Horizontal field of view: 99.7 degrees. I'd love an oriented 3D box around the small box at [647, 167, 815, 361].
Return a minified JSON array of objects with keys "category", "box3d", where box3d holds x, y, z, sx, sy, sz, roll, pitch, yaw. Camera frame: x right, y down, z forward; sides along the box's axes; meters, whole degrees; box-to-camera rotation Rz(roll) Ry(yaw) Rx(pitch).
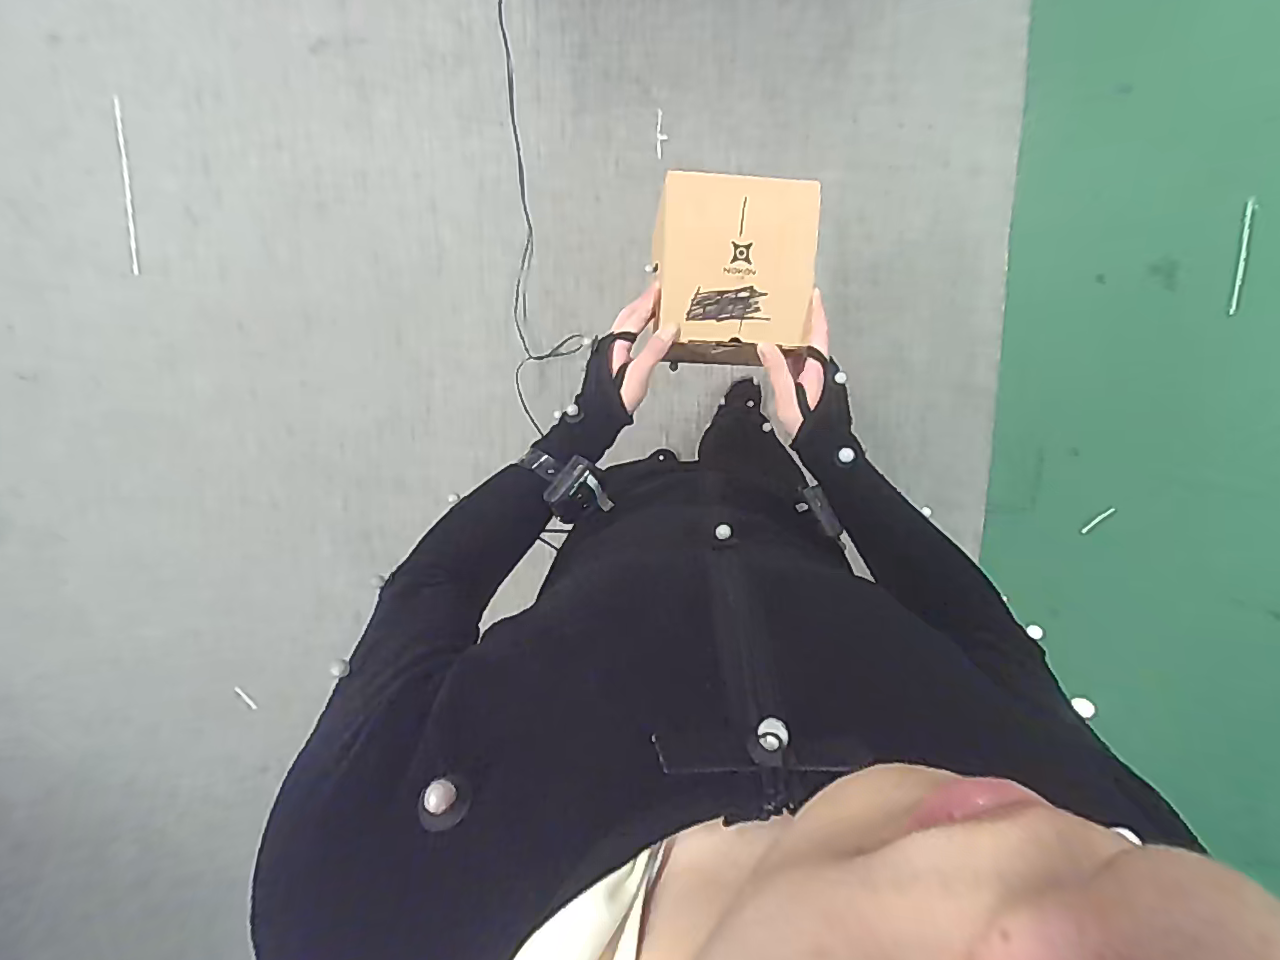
[{"category":"small box","box3d":[0.096,-0.243,0.652,0.168,0.176,0.179,2,95,-3]}]
